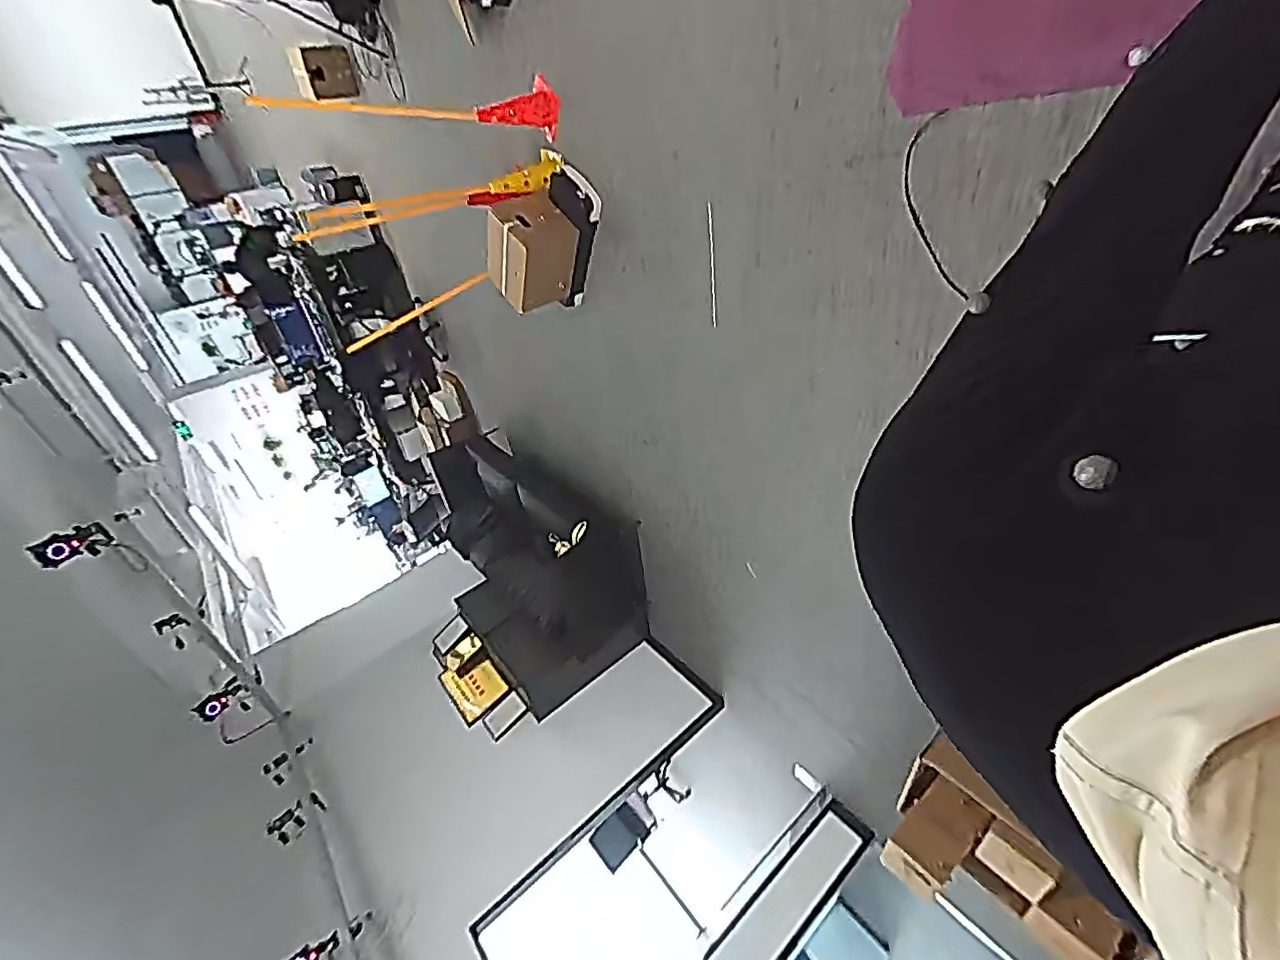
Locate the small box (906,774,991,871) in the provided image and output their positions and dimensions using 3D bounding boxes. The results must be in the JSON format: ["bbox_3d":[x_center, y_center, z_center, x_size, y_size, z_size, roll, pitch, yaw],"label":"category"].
[{"bbox_3d":[0.996,1.102,1.746,0.168,0.176,0.179,34,141,41],"label":"small box"}]
